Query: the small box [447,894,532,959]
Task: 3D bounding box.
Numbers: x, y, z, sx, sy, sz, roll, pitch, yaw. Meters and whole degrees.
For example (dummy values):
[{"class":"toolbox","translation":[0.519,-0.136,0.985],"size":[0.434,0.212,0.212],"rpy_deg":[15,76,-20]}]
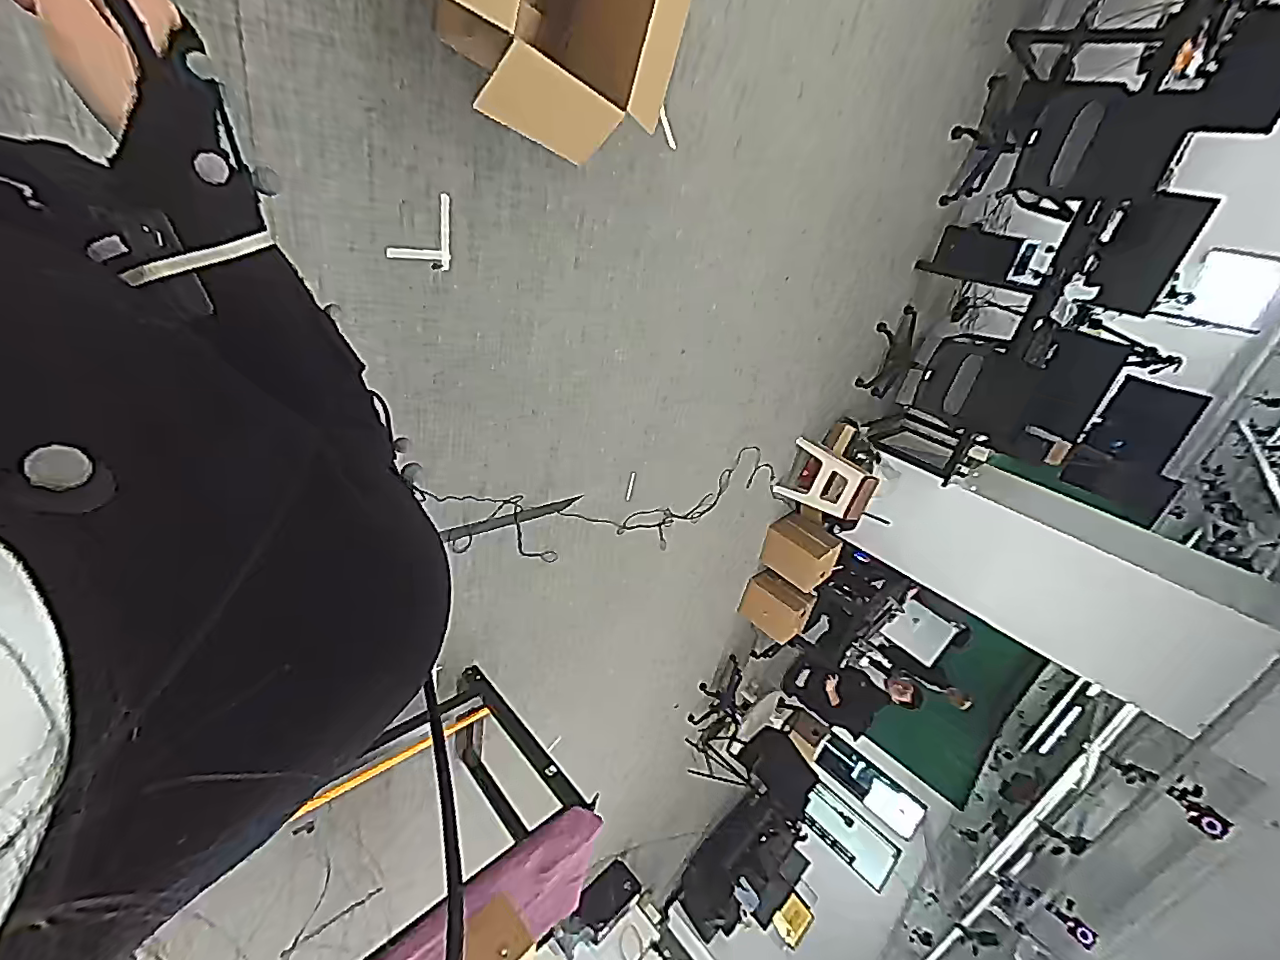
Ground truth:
[{"class":"small box","translation":[-0.423,1.316,1.499],"size":[0.179,0.176,0.168],"rpy_deg":[-22,133,-41]}]
